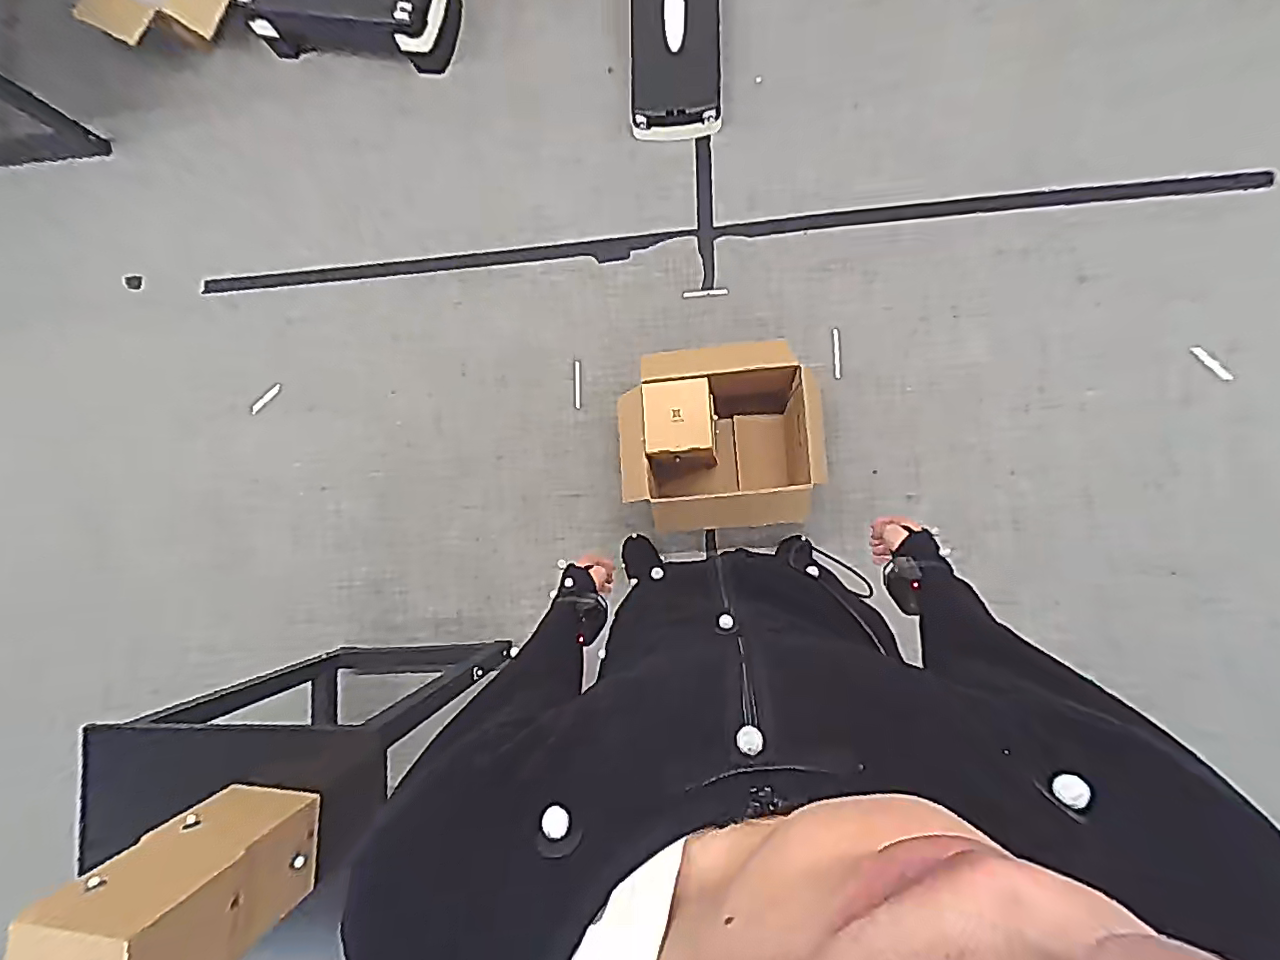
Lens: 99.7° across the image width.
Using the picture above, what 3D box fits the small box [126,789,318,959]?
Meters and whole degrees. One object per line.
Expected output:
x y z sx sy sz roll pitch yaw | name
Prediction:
-0.669 0.632 0.881 0.179 0.176 0.168 2 87 7 | small box
